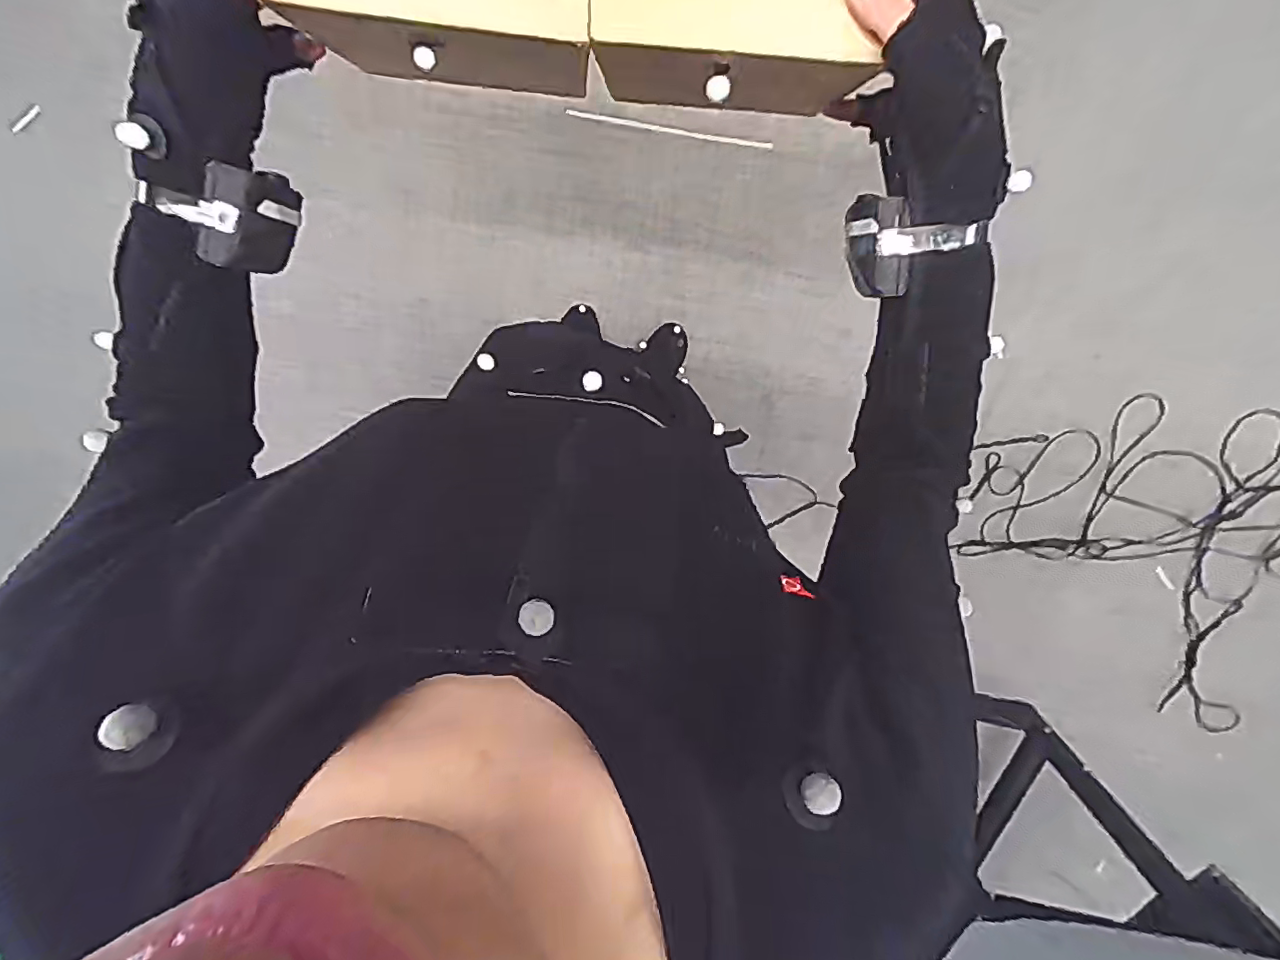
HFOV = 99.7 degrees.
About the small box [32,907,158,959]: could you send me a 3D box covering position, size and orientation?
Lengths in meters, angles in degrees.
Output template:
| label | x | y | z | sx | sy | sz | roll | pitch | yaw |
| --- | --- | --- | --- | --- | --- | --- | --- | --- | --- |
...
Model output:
| label | x | y | z | sx | sy | sz | roll | pitch | yaw |
| --- | --- | --- | --- | --- | --- | --- | --- | --- | --- |
| small box | -1.259 | 1.122 | 1.227 | 0.179 | 0.176 | 0.168 | 20 | 108 | -3 |
